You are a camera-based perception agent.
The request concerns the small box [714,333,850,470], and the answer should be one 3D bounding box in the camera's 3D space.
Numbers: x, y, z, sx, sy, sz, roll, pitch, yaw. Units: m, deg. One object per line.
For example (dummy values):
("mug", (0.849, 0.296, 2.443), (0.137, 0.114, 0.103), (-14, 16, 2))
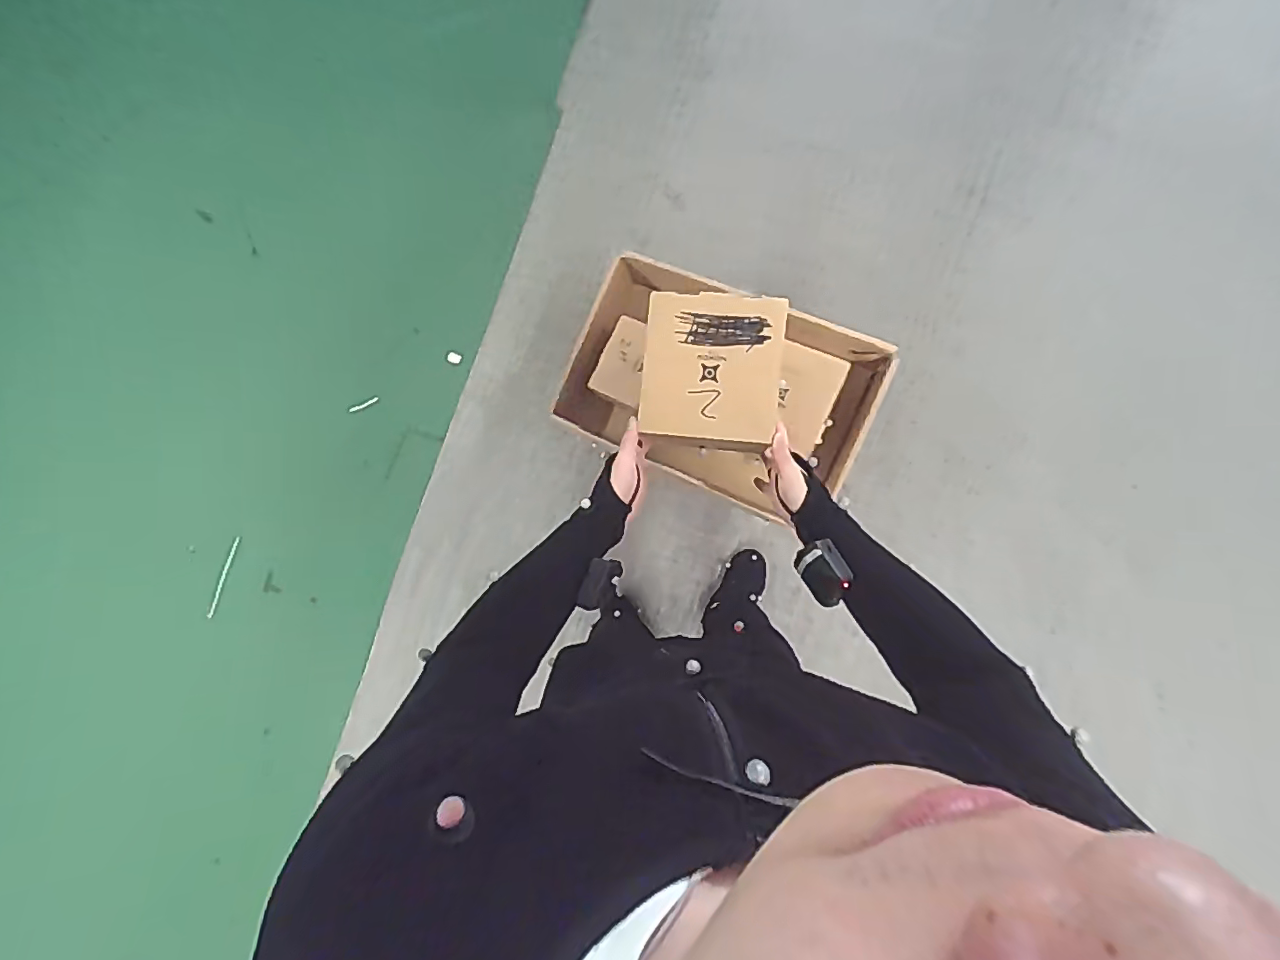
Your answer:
("small box", (0.245, -0.127, 0.955), (0.168, 0.176, 0.179), (25, 91, 11))
